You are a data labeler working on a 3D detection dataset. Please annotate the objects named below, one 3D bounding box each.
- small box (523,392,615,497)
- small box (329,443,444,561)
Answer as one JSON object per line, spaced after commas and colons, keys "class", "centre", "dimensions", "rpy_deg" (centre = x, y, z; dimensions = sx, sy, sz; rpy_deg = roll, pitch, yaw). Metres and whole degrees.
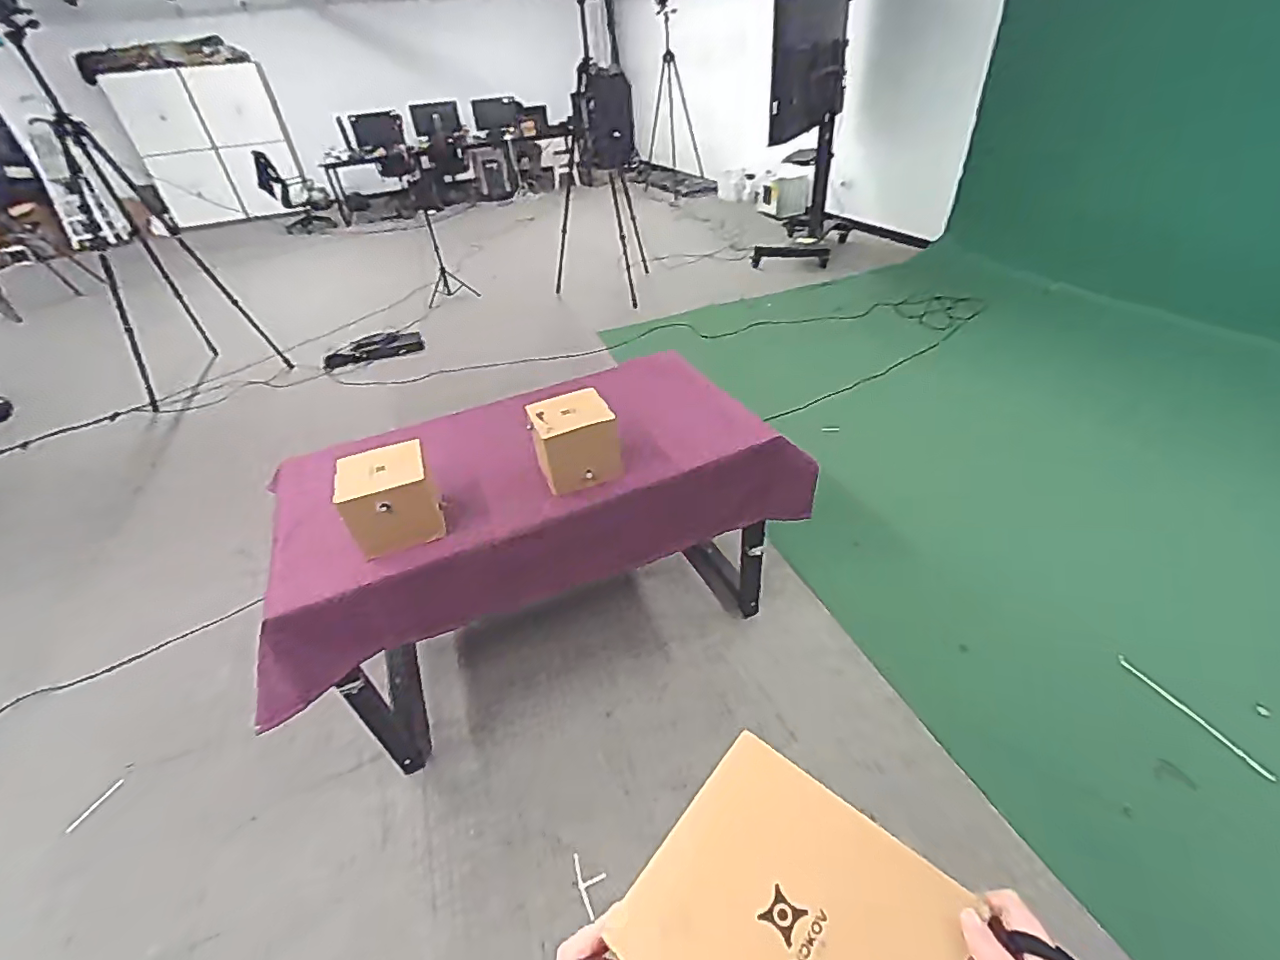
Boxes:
{"class": "small box", "centre": [-0.165, -0.085, 1.296], "dimensions": [0.179, 0.176, 0.168], "rpy_deg": [-18, 39, -15]}
{"class": "small box", "centre": [-0.545, 0.049, 1.175], "dimensions": [0.179, 0.176, 0.168], "rpy_deg": [-17, 40, -15]}
